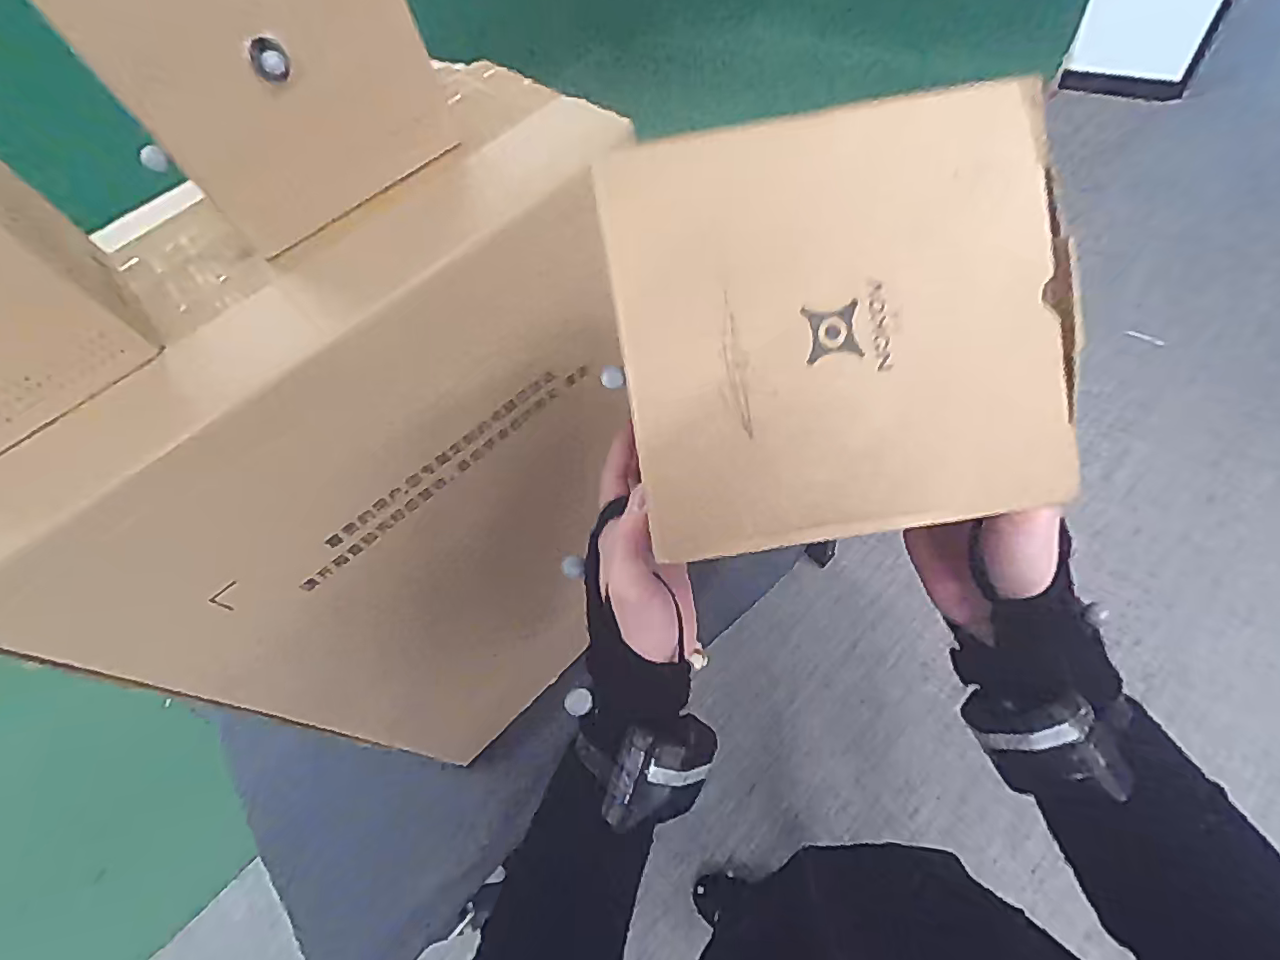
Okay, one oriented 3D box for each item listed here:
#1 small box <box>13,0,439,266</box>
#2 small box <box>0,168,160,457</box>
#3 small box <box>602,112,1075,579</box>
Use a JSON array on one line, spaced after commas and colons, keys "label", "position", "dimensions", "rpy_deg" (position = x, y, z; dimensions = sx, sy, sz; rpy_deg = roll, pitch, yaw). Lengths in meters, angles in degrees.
[{"label": "small box", "position": [-0.267, -0.288, 0.372], "dimensions": [0.179, 0.176, 0.168], "rpy_deg": [-42, 62, -12]}, {"label": "small box", "position": [-0.437, -0.107, 0.302], "dimensions": [0.179, 0.176, 0.168], "rpy_deg": [-42, 62, -13]}, {"label": "small box", "position": [0.082, -0.057, 0.299], "dimensions": [0.179, 0.176, 0.168], "rpy_deg": [-10, 93, 2]}]
